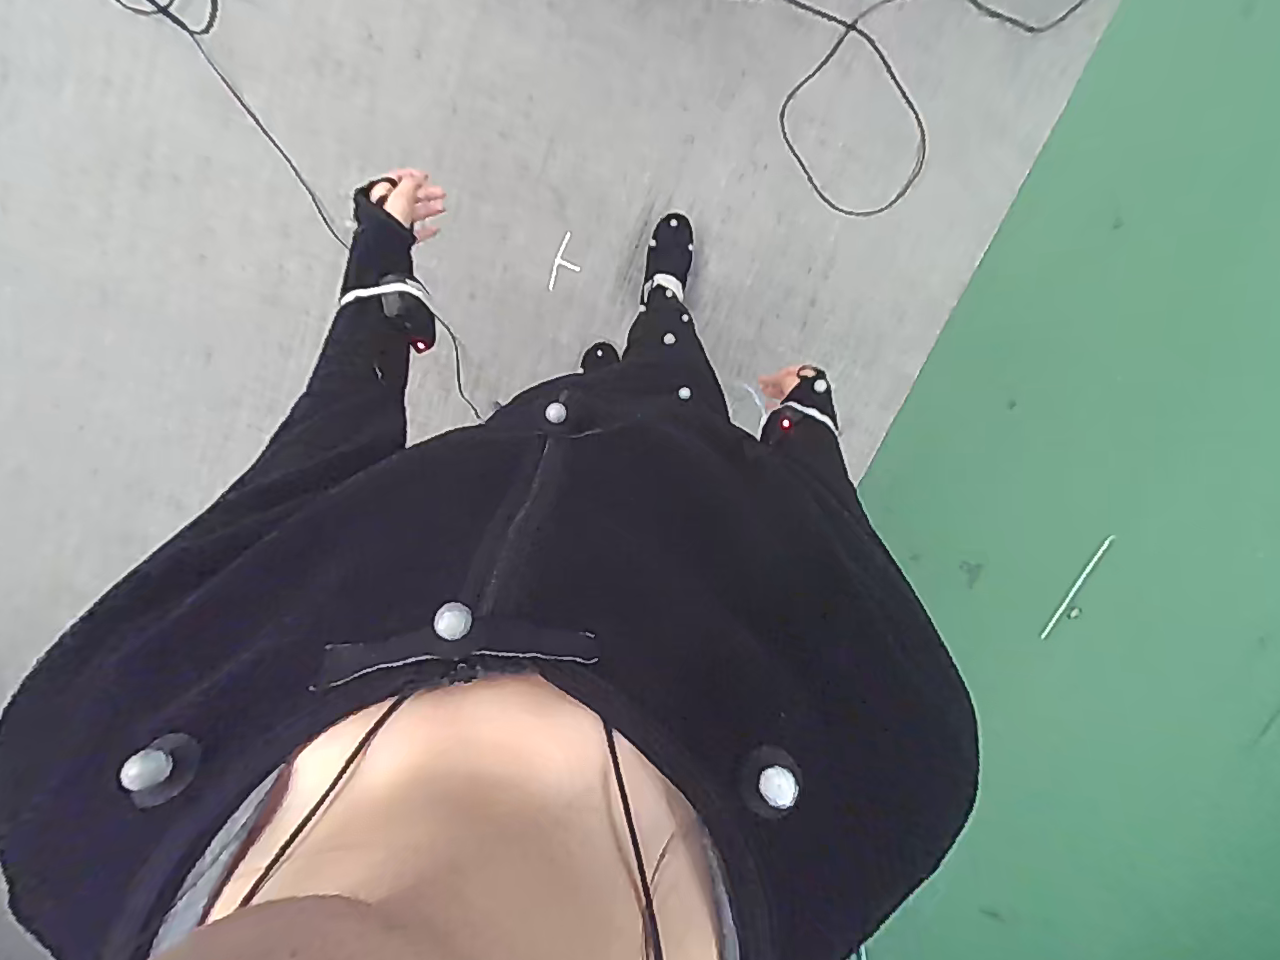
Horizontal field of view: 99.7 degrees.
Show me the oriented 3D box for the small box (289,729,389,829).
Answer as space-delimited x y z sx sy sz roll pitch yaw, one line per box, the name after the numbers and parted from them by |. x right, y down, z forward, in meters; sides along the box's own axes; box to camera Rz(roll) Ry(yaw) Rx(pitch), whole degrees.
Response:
-0.883 0.879 1.604 0.179 0.176 0.168 32 101 -11 | small box
